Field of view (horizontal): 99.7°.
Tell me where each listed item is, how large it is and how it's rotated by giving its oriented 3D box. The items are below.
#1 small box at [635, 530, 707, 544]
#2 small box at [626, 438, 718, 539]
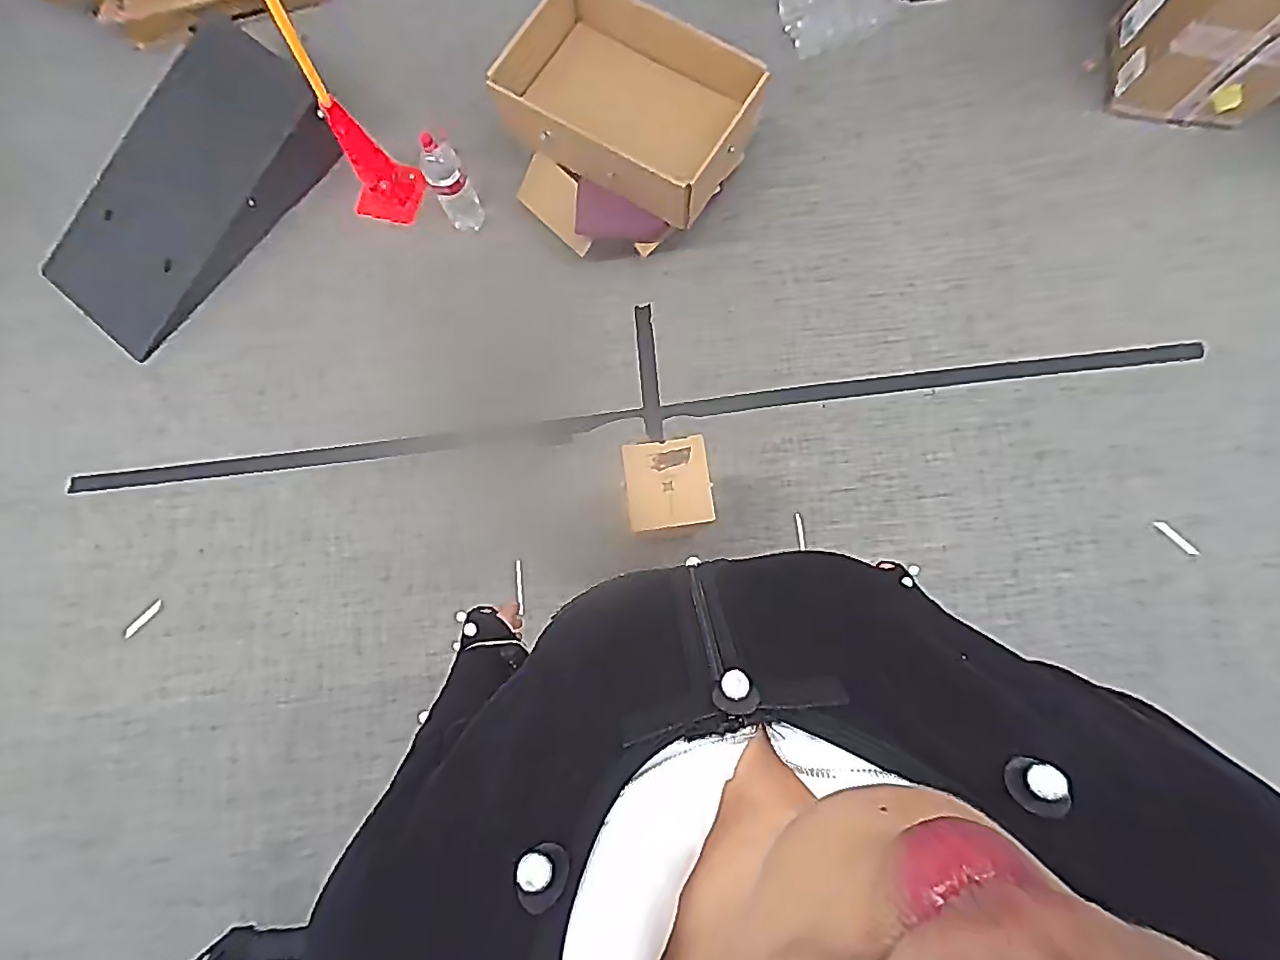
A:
[{"bbox_3d":[0.063,0.053,1.297,0.168,0.176,0.179,-8,79,1],"label":"small box"},{"bbox_3d":[0.062,0.023,1.134,0.168,0.176,0.179,-8,80,1],"label":"small box"}]
